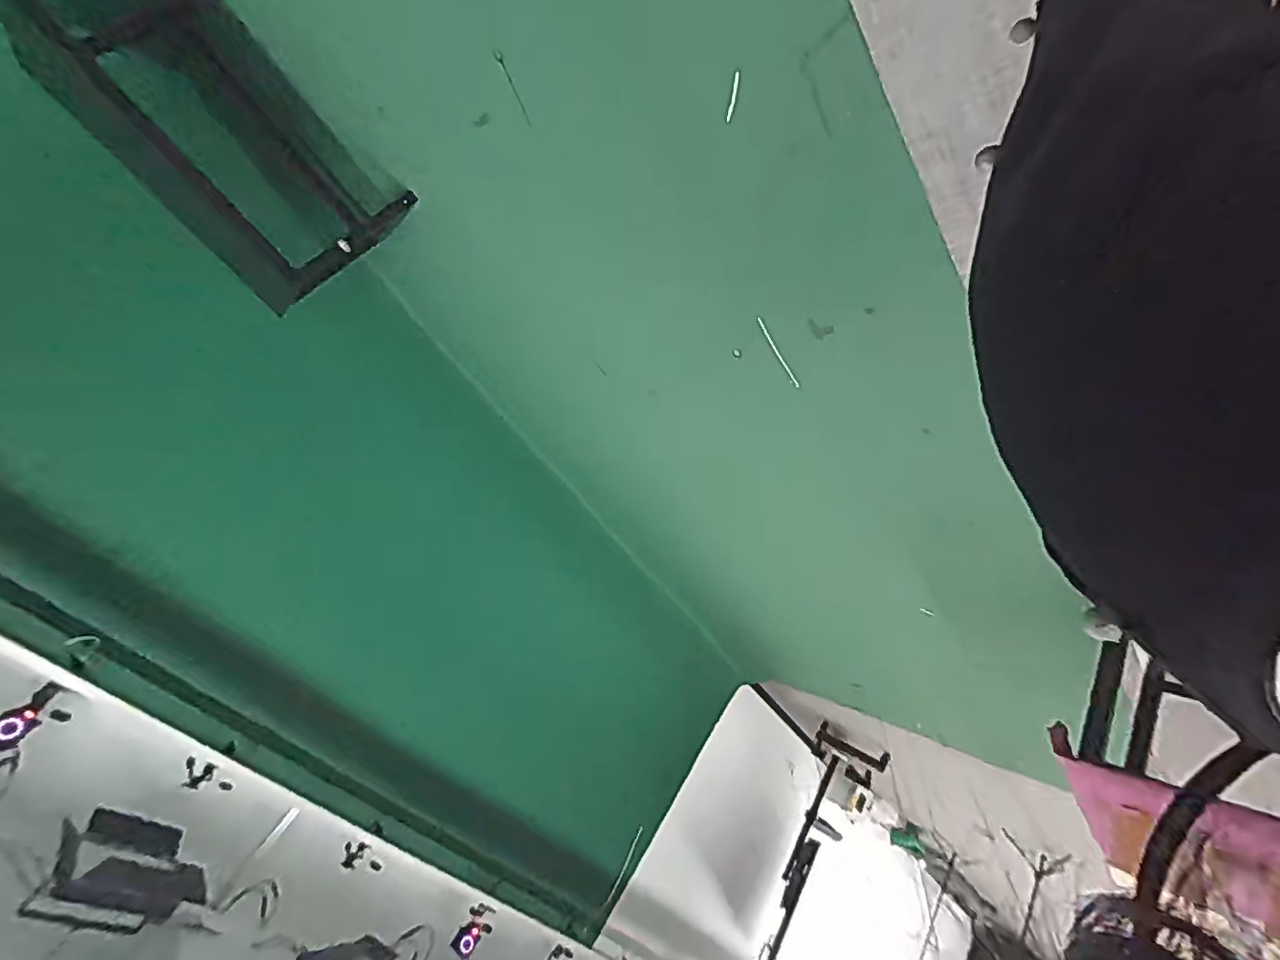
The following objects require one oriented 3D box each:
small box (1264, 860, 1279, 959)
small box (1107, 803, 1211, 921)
[{"bbox_3d":[1.533,1.000,1.202,0.179,0.176,0.168,49,153,-22],"label":"small box"},{"bbox_3d":[1.356,0.985,1.408,0.179,0.176,0.168,2,138,52],"label":"small box"}]
